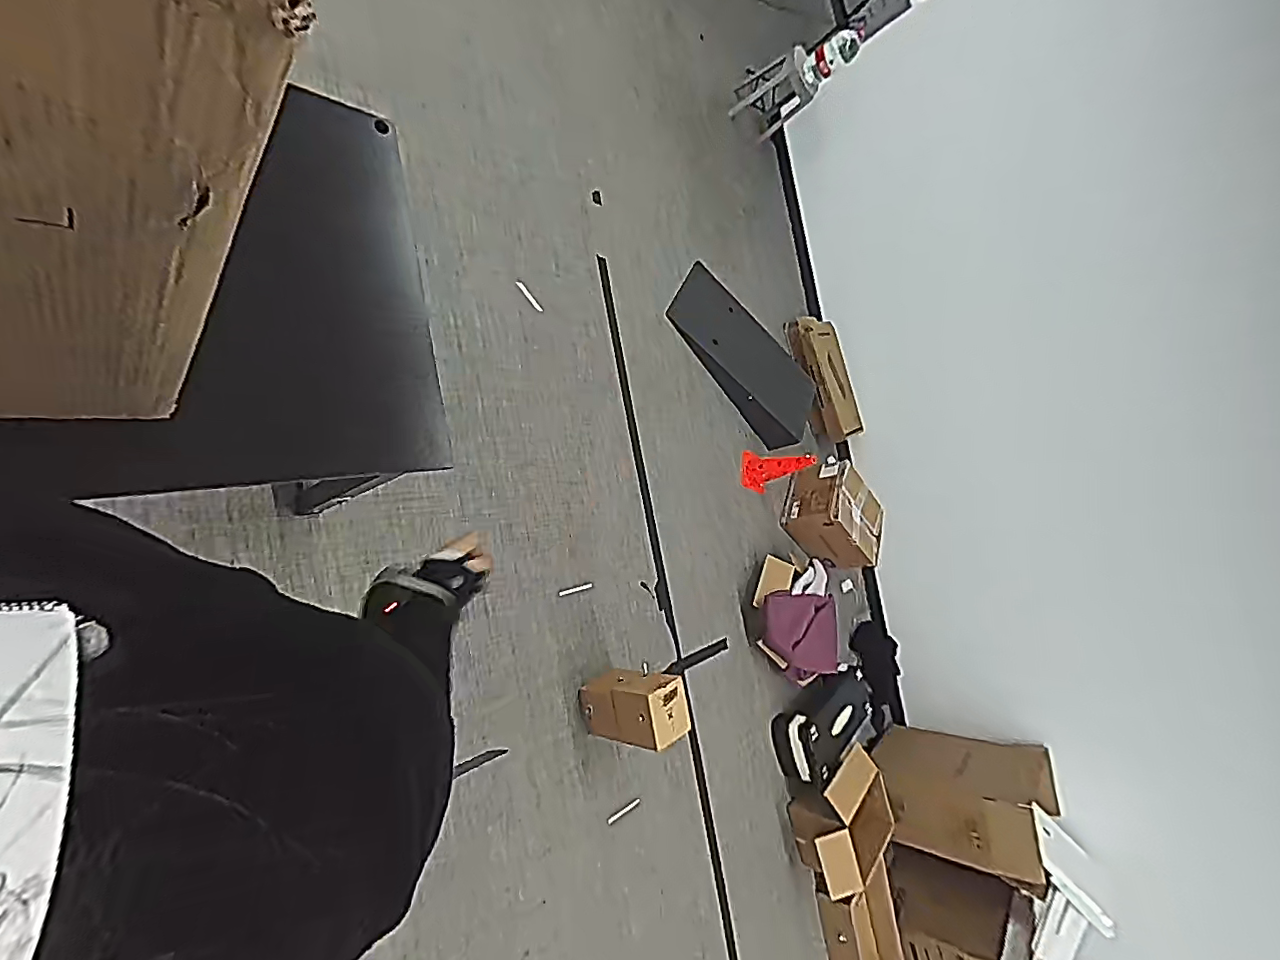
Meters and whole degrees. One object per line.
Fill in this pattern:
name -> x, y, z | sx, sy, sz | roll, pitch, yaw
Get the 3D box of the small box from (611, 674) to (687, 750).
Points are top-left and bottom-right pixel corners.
small box -> 0.025, 0.740, 1.749 | 0.168, 0.176, 0.179 | -8, 87, -46

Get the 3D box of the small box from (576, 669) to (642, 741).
small box -> -0.091, 0.767, 1.863 | 0.179, 0.176, 0.168 | -14, 90, -45
